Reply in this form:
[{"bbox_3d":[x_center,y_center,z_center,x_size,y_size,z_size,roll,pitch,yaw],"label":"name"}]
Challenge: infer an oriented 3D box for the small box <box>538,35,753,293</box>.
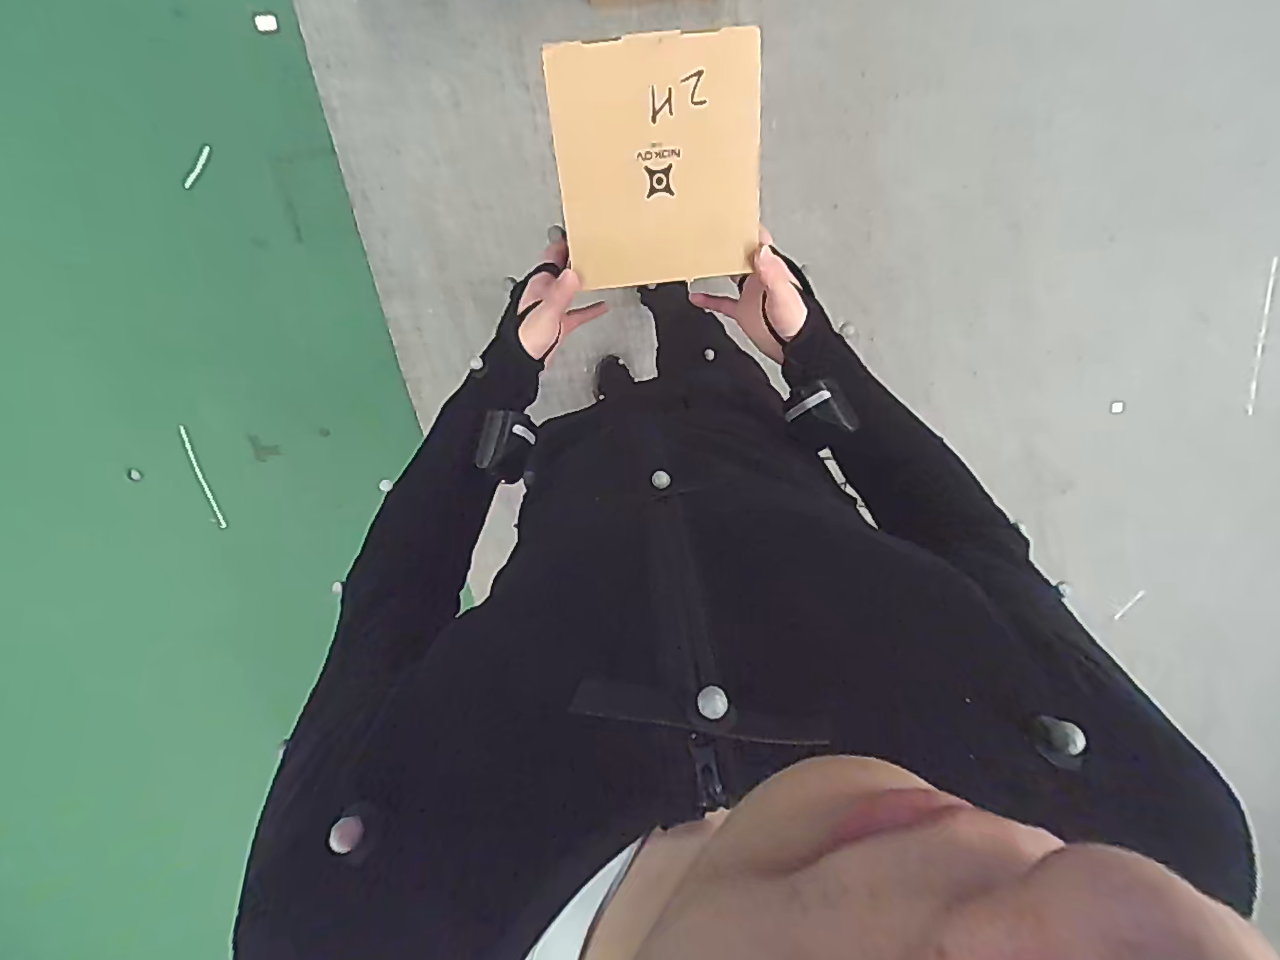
[{"bbox_3d":[0.003,-0.284,0.512,0.168,0.176,0.179,-7,115,-3],"label":"small box"}]
